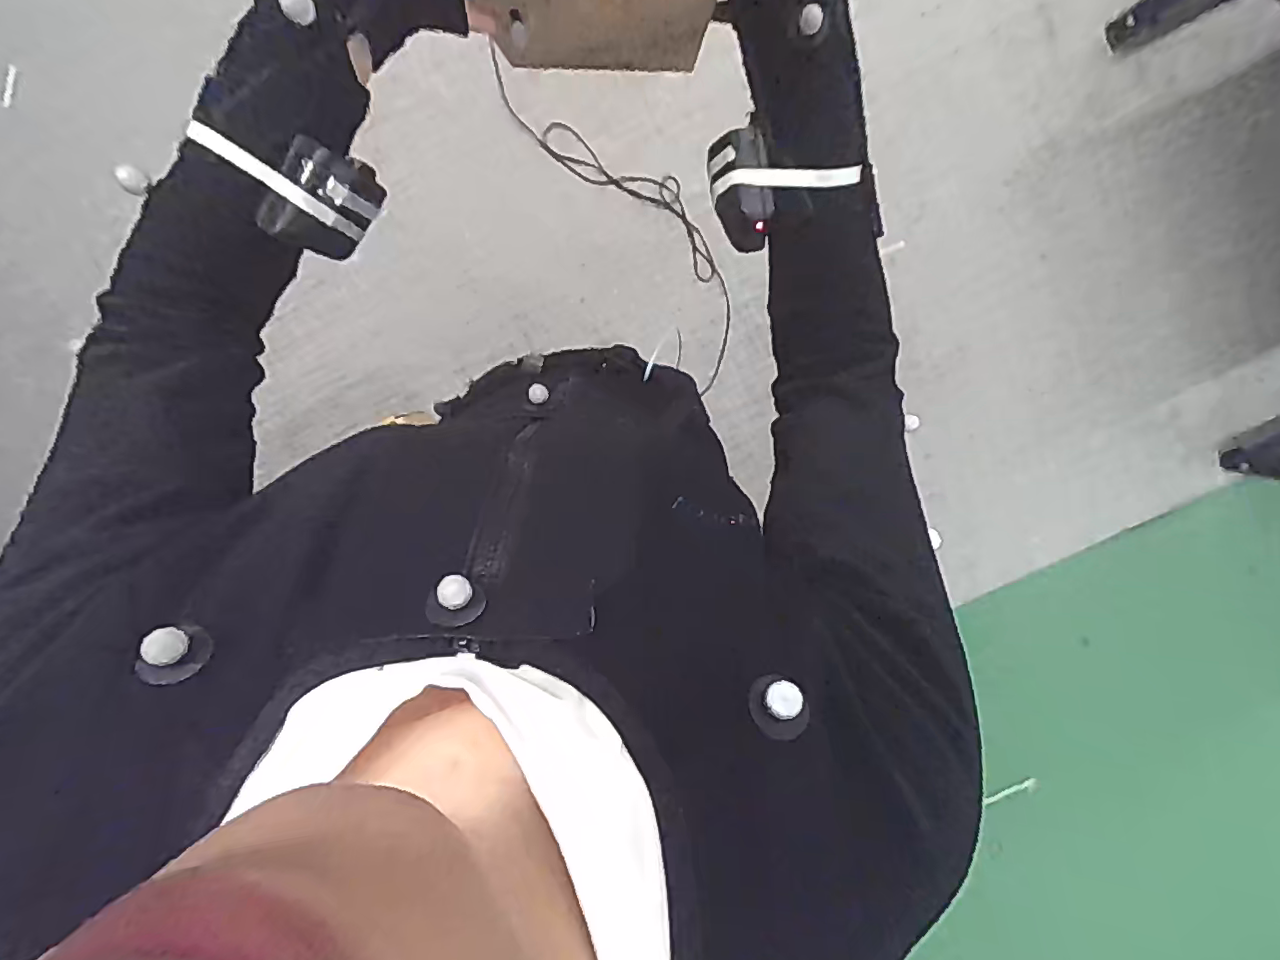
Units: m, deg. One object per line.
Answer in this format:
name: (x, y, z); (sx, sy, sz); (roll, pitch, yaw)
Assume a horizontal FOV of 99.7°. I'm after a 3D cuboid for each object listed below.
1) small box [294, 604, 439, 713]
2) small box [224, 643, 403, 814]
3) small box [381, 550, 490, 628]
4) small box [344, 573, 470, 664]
small box: (-0.532, 0.380, 1.088); (0.179, 0.176, 0.168); (-30, 99, 7)
small box: (-0.538, 0.413, 0.927); (0.179, 0.176, 0.168); (-30, 98, 6)
small box: (-0.521, 0.308, 1.406); (0.179, 0.176, 0.168); (-27, 101, 6)
small box: (-0.525, 0.342, 1.247); (0.179, 0.176, 0.168); (-28, 100, 6)
